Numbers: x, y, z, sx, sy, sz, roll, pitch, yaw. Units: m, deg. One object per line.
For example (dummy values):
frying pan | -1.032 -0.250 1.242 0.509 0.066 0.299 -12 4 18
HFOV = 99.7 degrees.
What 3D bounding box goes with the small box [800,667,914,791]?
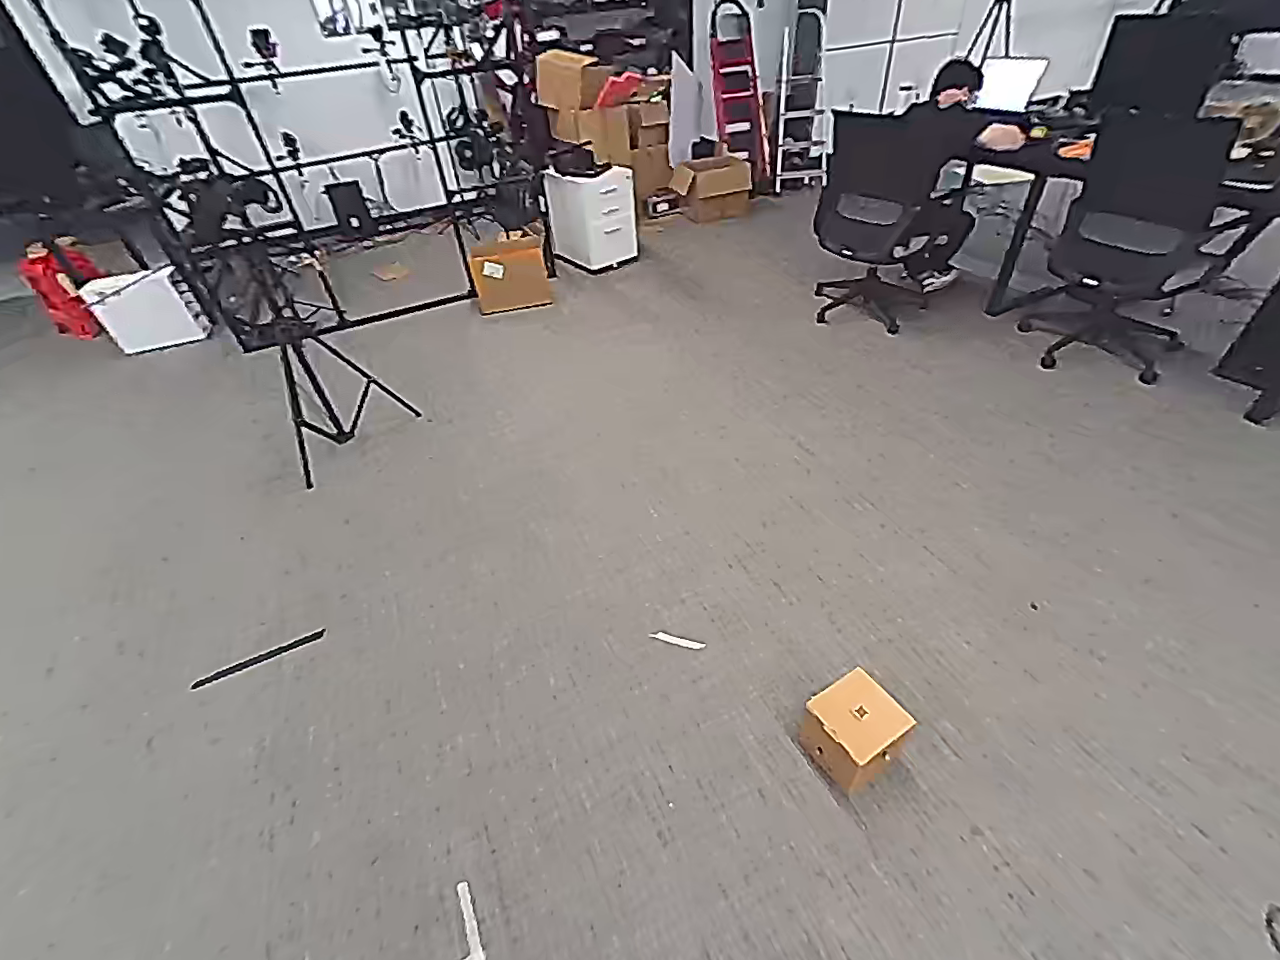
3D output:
small box | 0.495 0.581 1.261 0.179 0.176 0.168 -25 44 -20
